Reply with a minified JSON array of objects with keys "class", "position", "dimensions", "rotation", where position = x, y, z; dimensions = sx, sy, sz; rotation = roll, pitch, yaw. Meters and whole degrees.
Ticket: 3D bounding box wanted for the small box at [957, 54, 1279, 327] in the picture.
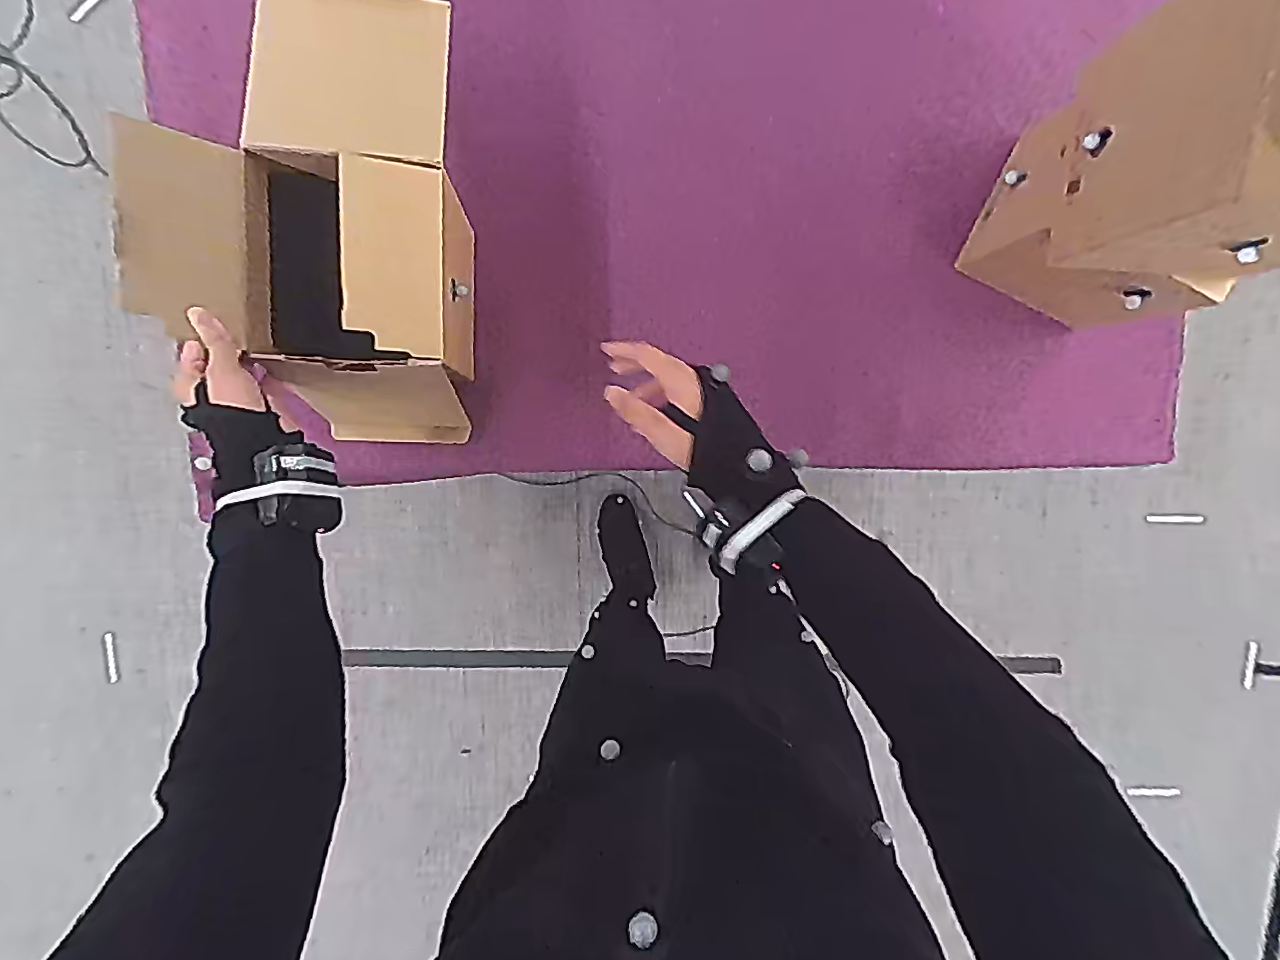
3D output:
[{"class":"small box","position":[0.485,-0.273,0.563],"dimensions":[0.179,0.176,0.168],"rotation":[26,96,-3]}]
